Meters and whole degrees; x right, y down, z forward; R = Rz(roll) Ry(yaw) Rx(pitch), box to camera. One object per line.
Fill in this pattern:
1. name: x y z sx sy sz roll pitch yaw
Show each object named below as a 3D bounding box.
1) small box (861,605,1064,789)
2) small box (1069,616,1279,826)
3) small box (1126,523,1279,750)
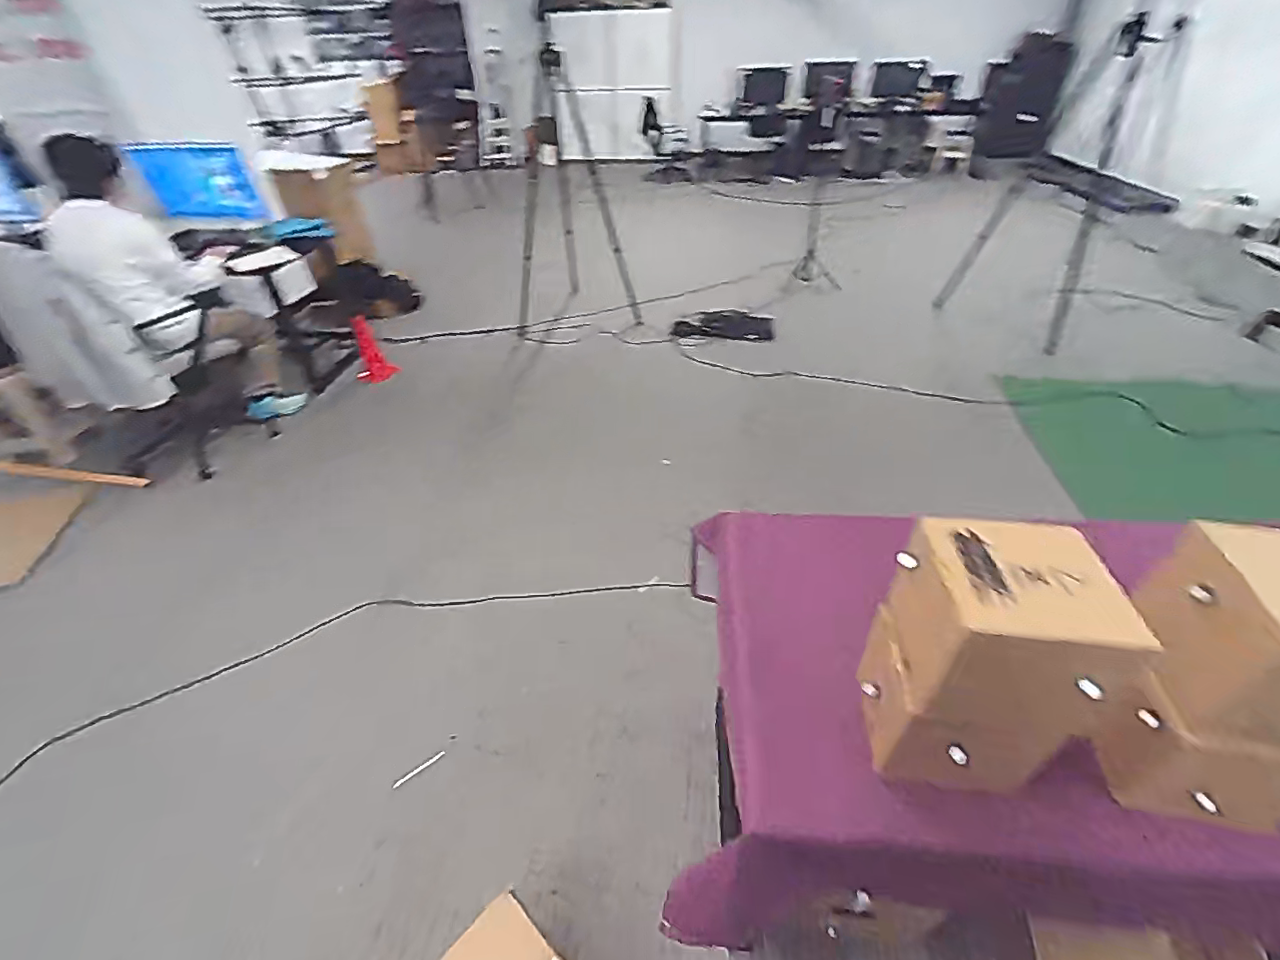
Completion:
1. small box: 0.410 0.292 0.731 0.179 0.176 0.168 3 40 8
2. small box: 0.706 0.308 0.699 0.168 0.176 0.179 6 41 11
3. small box: 0.703 0.176 0.600 0.168 0.176 0.179 7 41 12
